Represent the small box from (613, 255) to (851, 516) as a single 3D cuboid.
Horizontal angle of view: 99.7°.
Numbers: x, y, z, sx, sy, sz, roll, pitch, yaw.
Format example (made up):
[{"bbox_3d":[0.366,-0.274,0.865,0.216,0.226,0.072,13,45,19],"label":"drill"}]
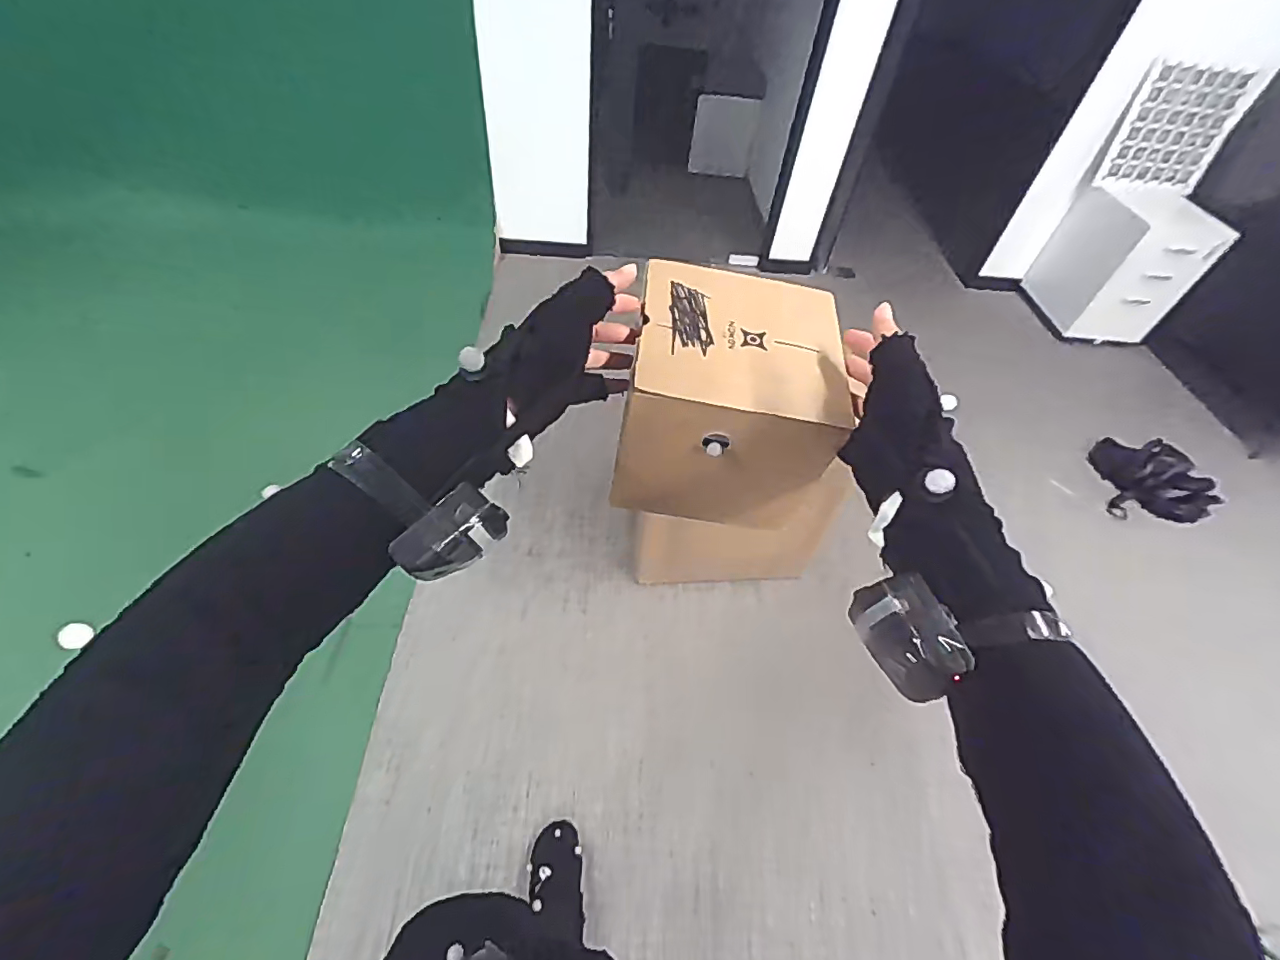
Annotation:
[{"bbox_3d":[0.073,-0.081,0.520,0.179,0.176,0.168,9,56,-5],"label":"small box"}]
